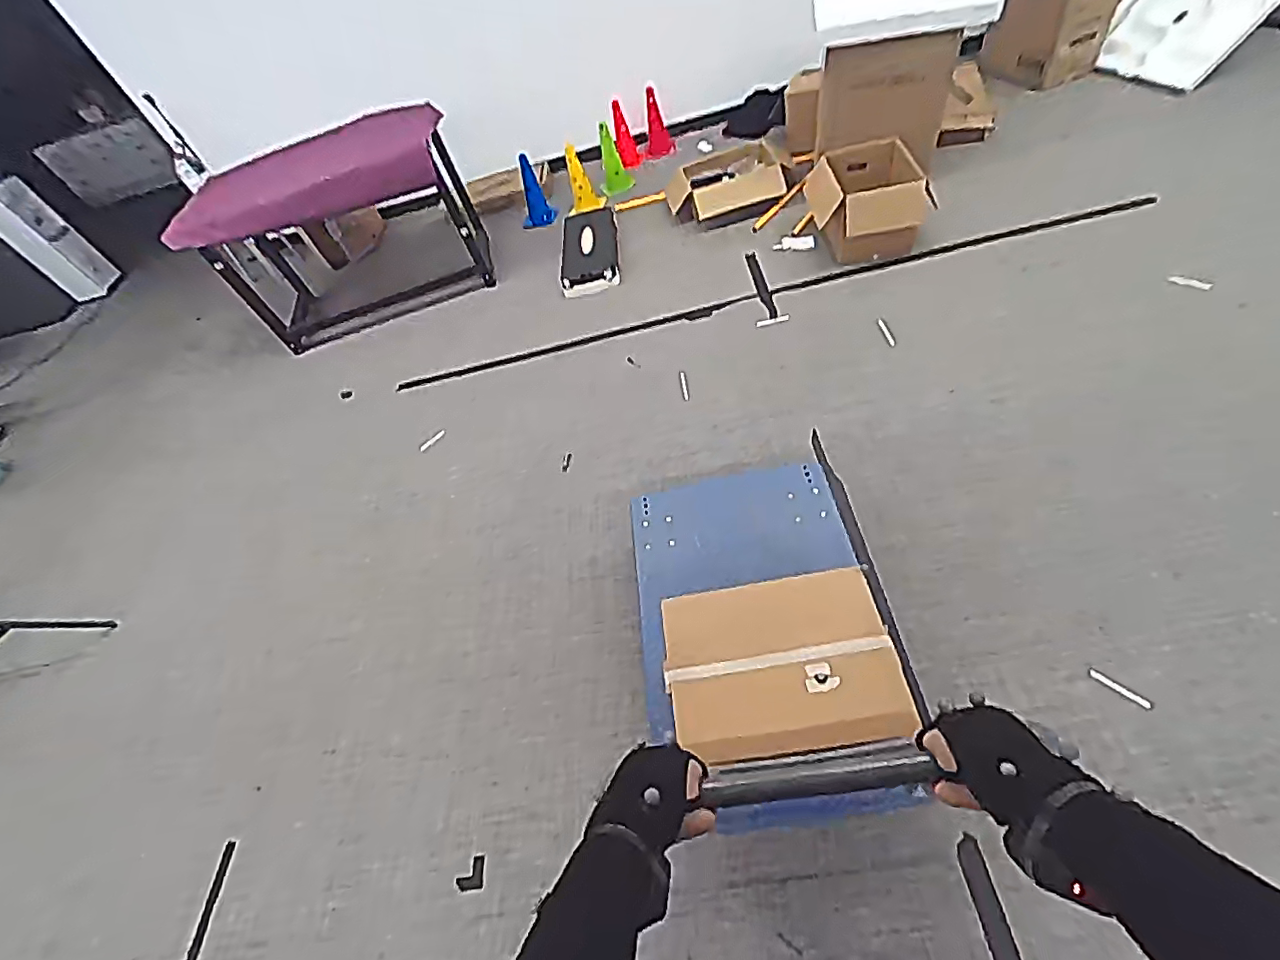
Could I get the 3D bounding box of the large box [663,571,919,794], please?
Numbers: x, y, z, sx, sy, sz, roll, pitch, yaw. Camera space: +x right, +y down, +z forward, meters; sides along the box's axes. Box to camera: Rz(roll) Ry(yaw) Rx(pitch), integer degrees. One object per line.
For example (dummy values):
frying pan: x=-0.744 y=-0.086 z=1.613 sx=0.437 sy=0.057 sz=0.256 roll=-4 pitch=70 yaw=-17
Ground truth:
large box: x=0.284 y=0.428 z=1.118 sx=0.408 sy=0.320 sz=0.320 roll=-11 pitch=52 yaw=6
